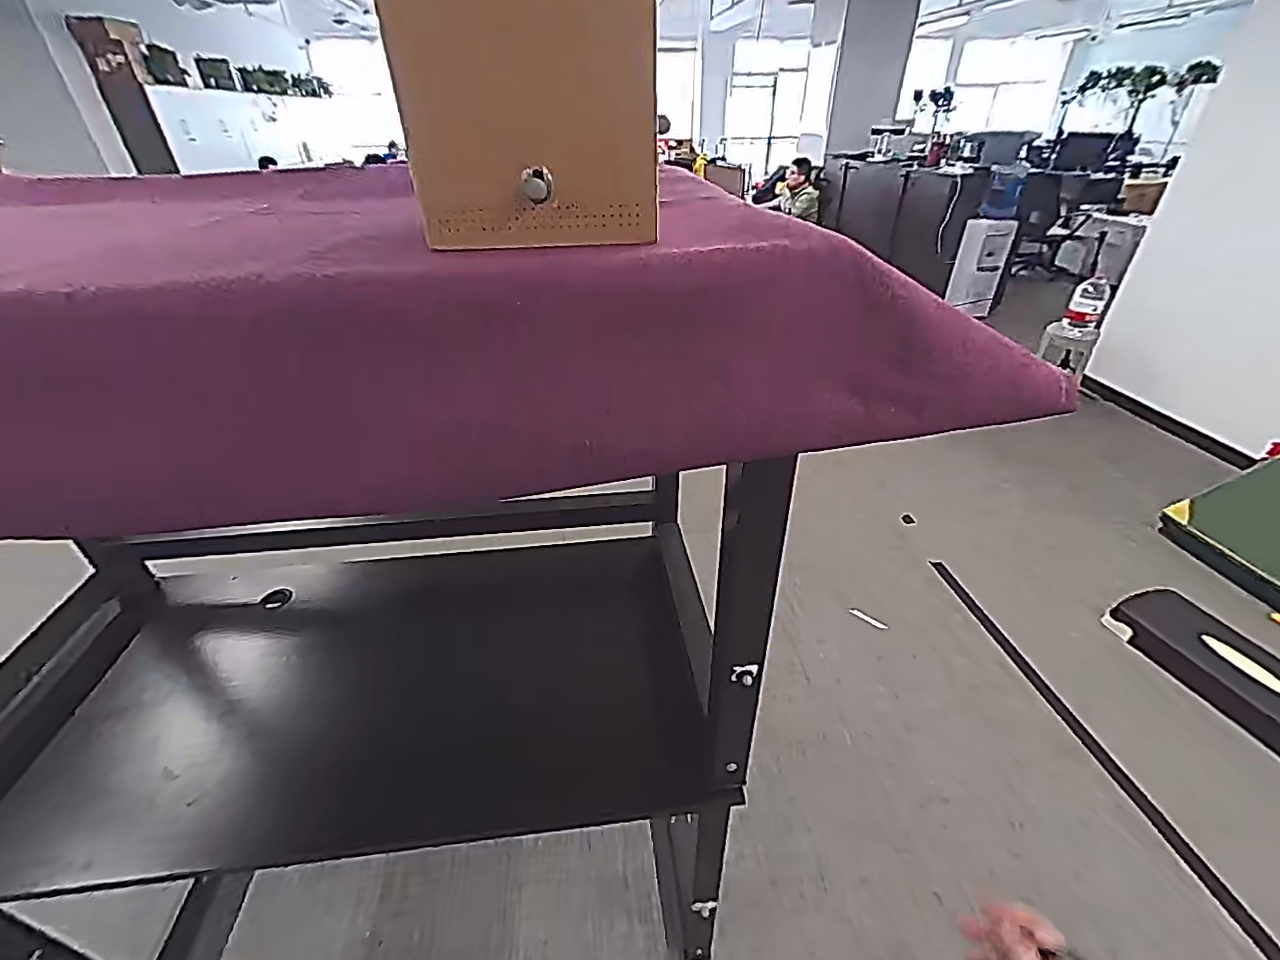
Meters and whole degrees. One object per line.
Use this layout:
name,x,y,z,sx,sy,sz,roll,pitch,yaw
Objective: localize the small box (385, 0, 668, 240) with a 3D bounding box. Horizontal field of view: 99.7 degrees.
small box,-0.072,-0.294,0.427,0.179,0.176,0.168,-2,33,-2
